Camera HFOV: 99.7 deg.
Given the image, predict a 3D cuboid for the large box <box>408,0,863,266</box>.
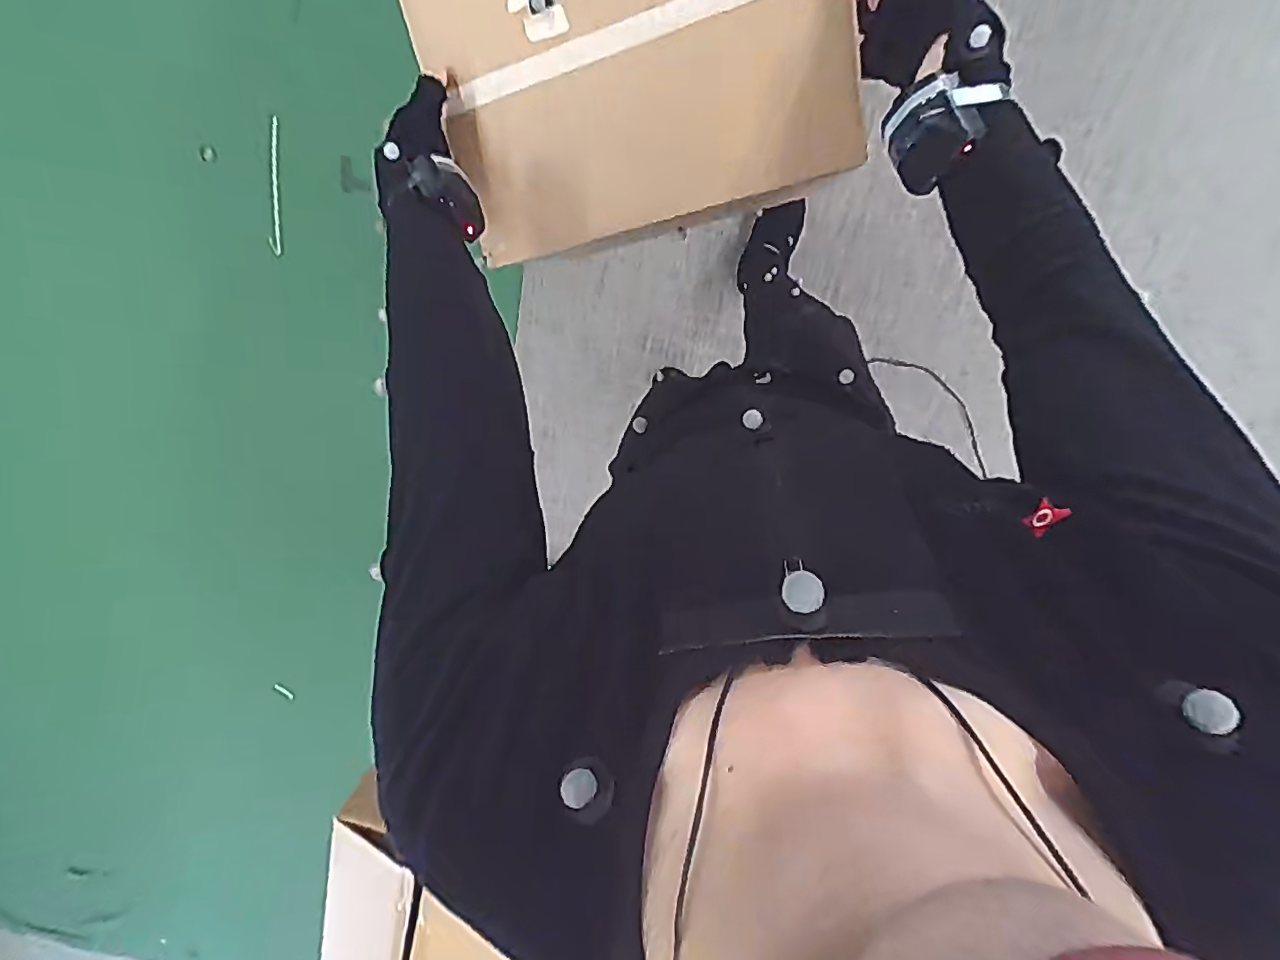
[{"bbox_3d":[0.015,-0.471,0.640,0.408,0.320,0.320,-9,110,16],"label":"large box"}]
